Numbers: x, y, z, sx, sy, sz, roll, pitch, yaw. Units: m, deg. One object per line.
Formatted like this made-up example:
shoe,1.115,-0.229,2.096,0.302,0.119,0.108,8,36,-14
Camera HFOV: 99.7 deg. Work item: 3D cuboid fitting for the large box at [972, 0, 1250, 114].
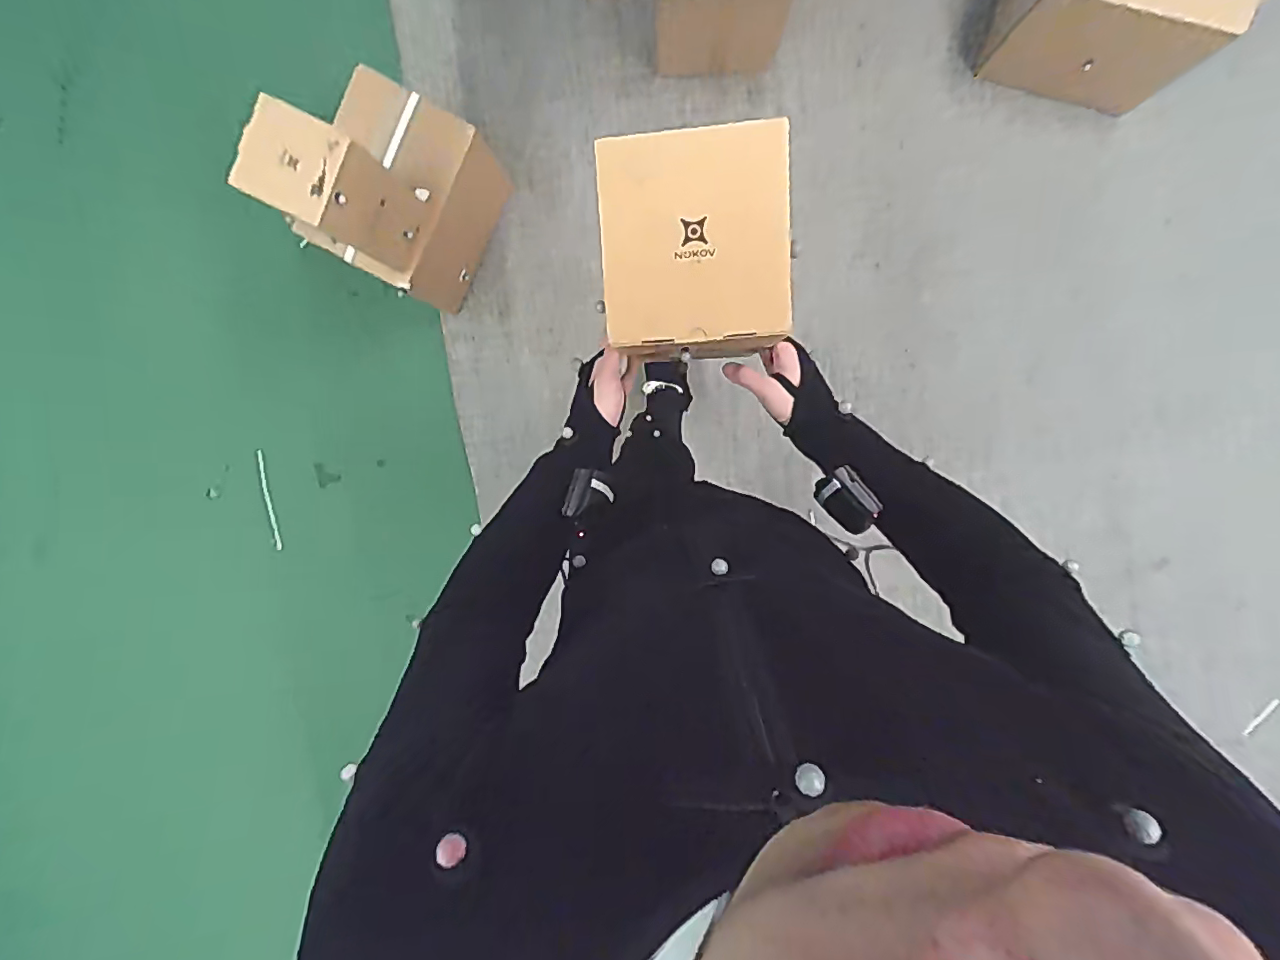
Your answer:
large box,1.091,-1.124,1.251,0.408,0.320,0.320,16,97,2

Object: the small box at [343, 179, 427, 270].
small box,-0.598,-0.578,1.165,0.179,0.176,0.168,27,98,-2

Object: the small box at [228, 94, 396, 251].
small box,-0.596,-0.553,1.003,0.179,0.176,0.168,27,97,0

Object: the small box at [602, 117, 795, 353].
small box,0.057,-0.227,0.548,0.168,0.176,0.179,-3,100,6
